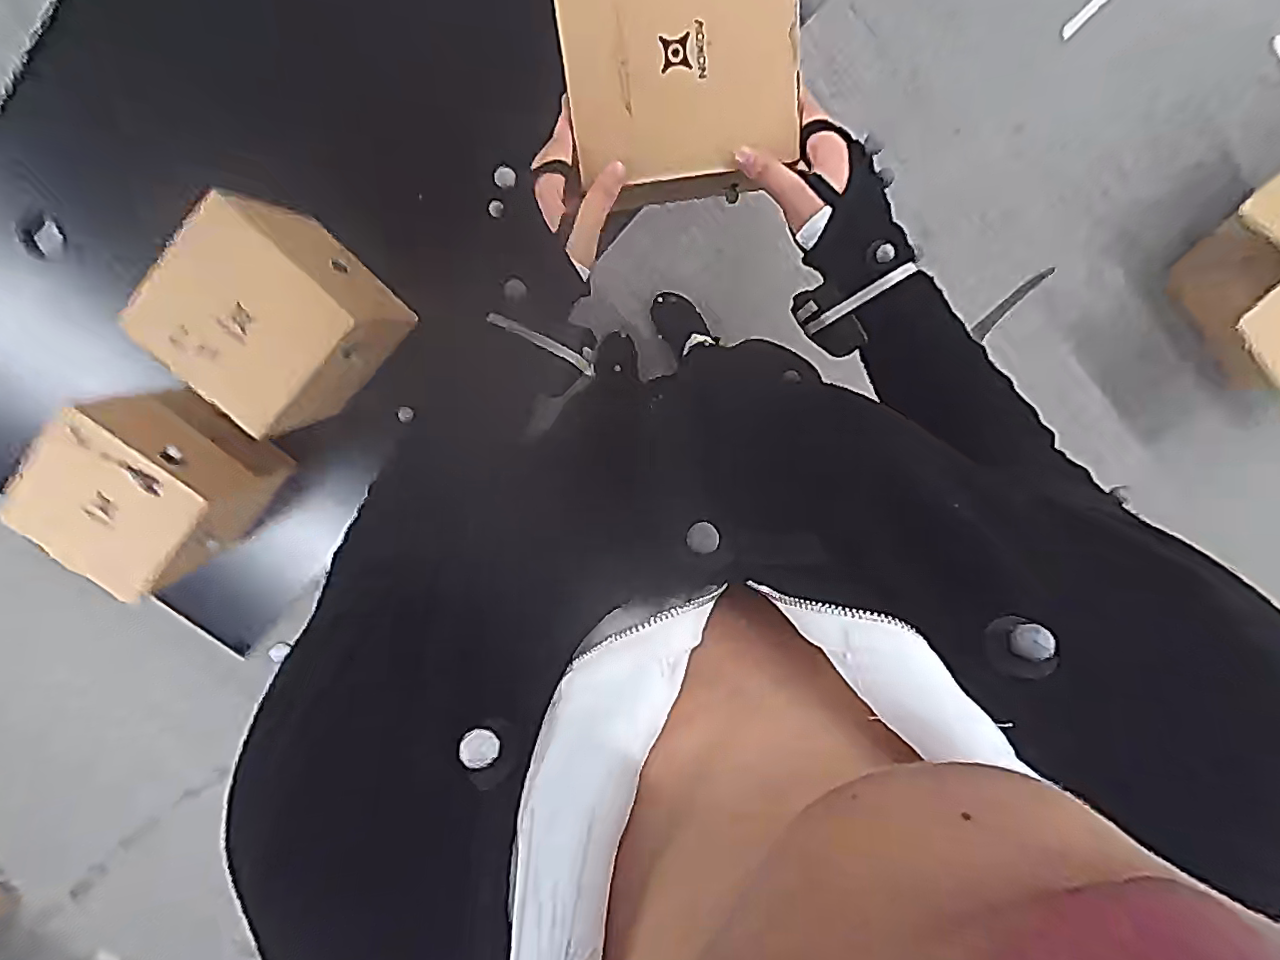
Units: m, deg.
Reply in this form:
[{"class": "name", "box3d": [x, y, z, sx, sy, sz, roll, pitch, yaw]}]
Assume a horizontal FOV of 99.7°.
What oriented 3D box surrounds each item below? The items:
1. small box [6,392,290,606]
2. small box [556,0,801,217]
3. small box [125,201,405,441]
[{"class": "small box", "box3d": [-0.588, 0.014, 0.673, 0.168, 0.176, 0.179, 40, 103, -12]}, {"class": "small box", "box3d": [0.032, -0.337, 0.473, 0.179, 0.176, 0.168, -6, 109, 4]}, {"class": "small box", "box3d": [-0.400, -0.175, 0.616, 0.179, 0.176, 0.168, -44, 102, 12]}]
